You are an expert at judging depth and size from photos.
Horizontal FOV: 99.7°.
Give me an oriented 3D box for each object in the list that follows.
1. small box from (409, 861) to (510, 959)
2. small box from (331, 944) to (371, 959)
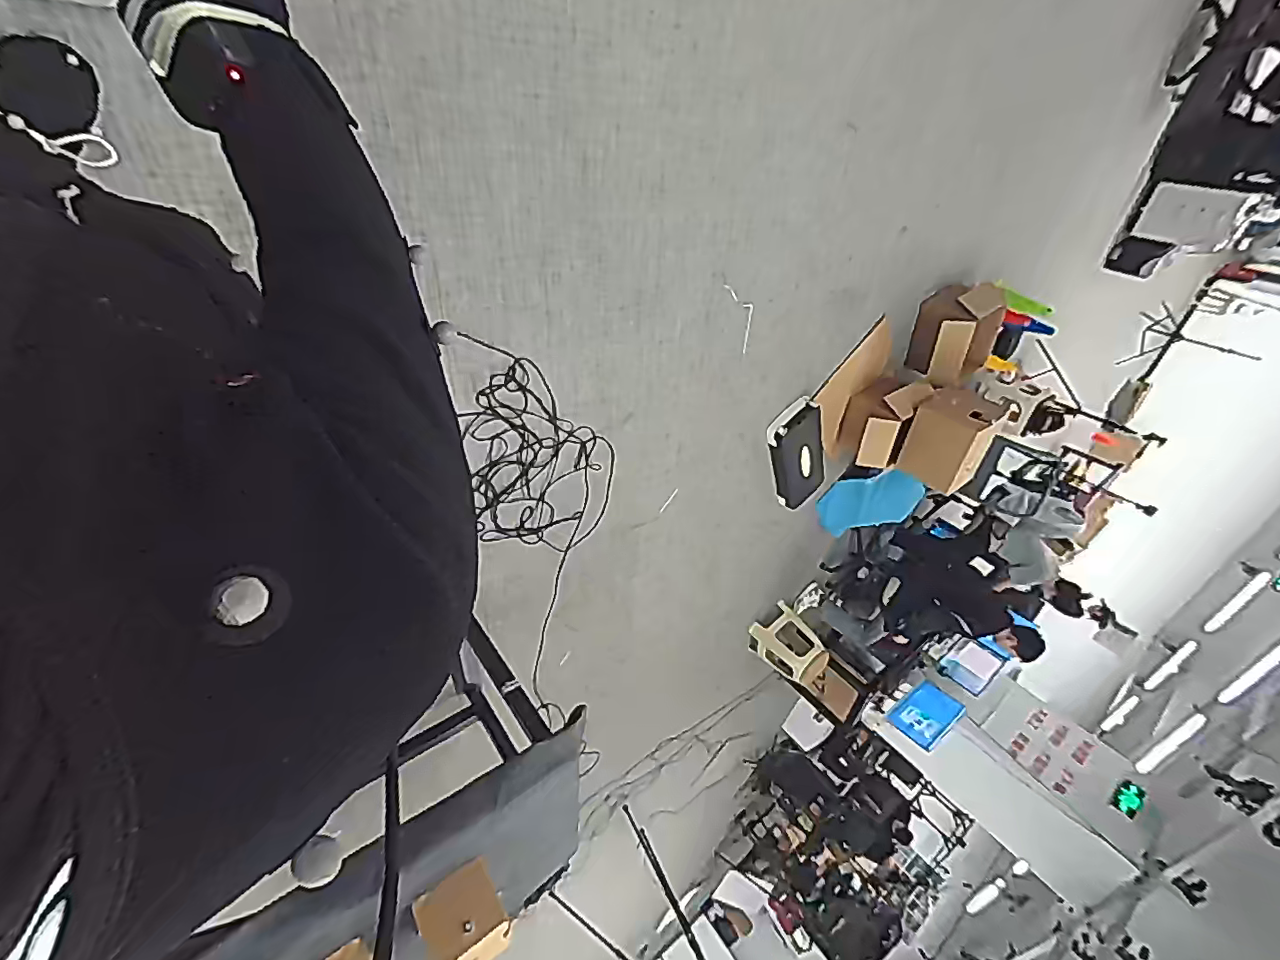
[{"bbox_3d":[-0.431,1.072,1.299,0.179,0.176,0.168,-19,131,-33],"label":"small box"},{"bbox_3d":[-0.642,1.146,1.147,0.168,0.176,0.179,-20,132,-34],"label":"small box"}]
